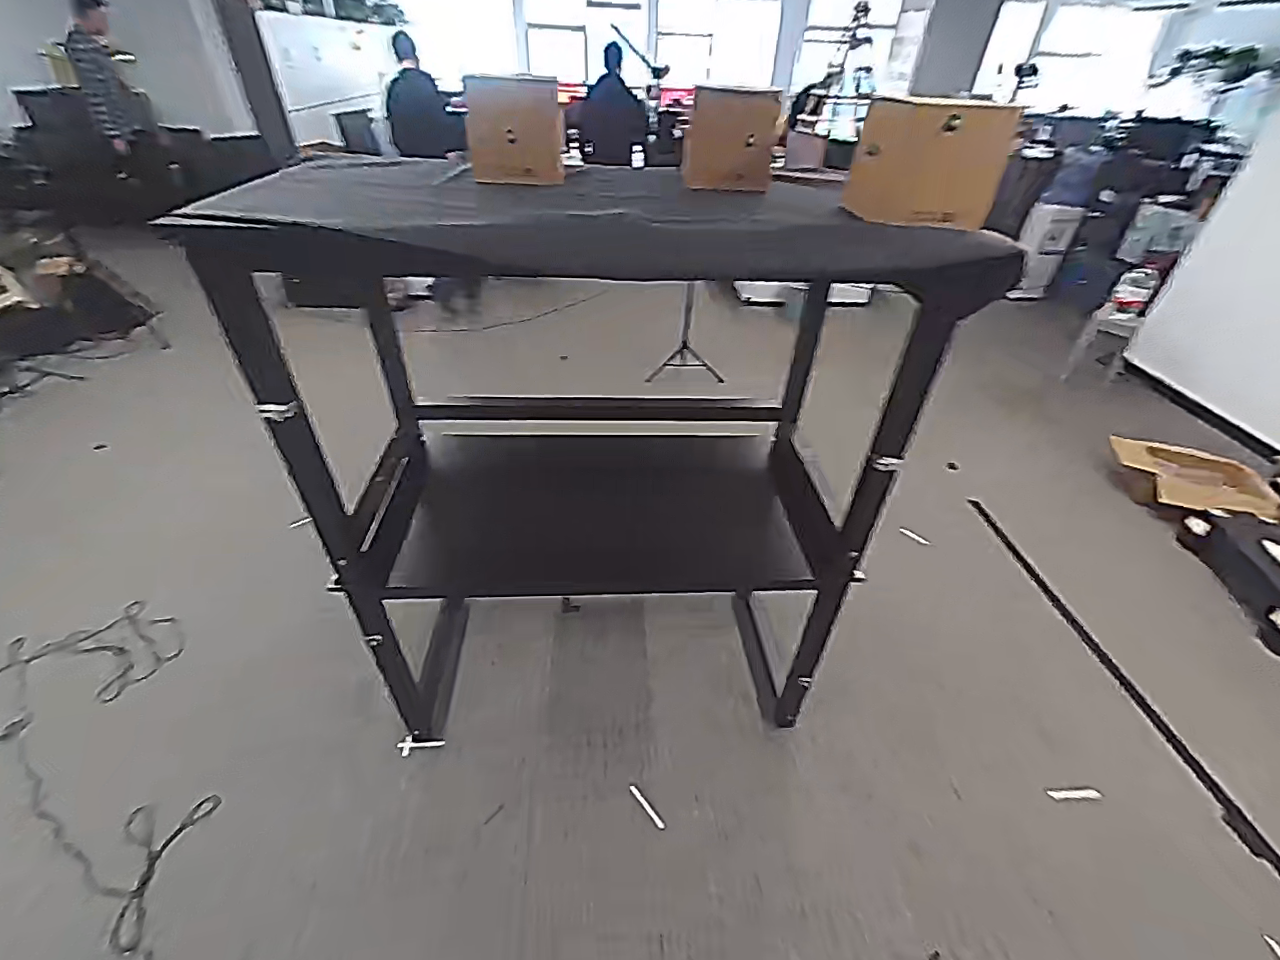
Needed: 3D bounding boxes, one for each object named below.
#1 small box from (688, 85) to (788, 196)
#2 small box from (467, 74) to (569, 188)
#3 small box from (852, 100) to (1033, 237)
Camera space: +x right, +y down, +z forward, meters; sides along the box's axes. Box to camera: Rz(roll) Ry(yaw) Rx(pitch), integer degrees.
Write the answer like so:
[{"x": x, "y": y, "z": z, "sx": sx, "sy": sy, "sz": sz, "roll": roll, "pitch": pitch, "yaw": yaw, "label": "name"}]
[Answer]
[{"x": 0.187, "y": -0.679, "z": 1.081, "sx": 0.168, "sy": 0.176, "sz": 0.179, "roll": 4, "pitch": 38, "yaw": 0, "label": "small box"}, {"x": -0.224, "y": -0.673, "z": 1.044, "sx": 0.168, "sy": 0.176, "sz": 0.179, "roll": 0, "pitch": 39, "yaw": -5, "label": "small box"}, {"x": 0.463, "y": -0.500, "z": 0.864, "sx": 0.168, "sy": 0.176, "sz": 0.179, "roll": -1, "pitch": 37, "yaw": -3, "label": "small box"}]
